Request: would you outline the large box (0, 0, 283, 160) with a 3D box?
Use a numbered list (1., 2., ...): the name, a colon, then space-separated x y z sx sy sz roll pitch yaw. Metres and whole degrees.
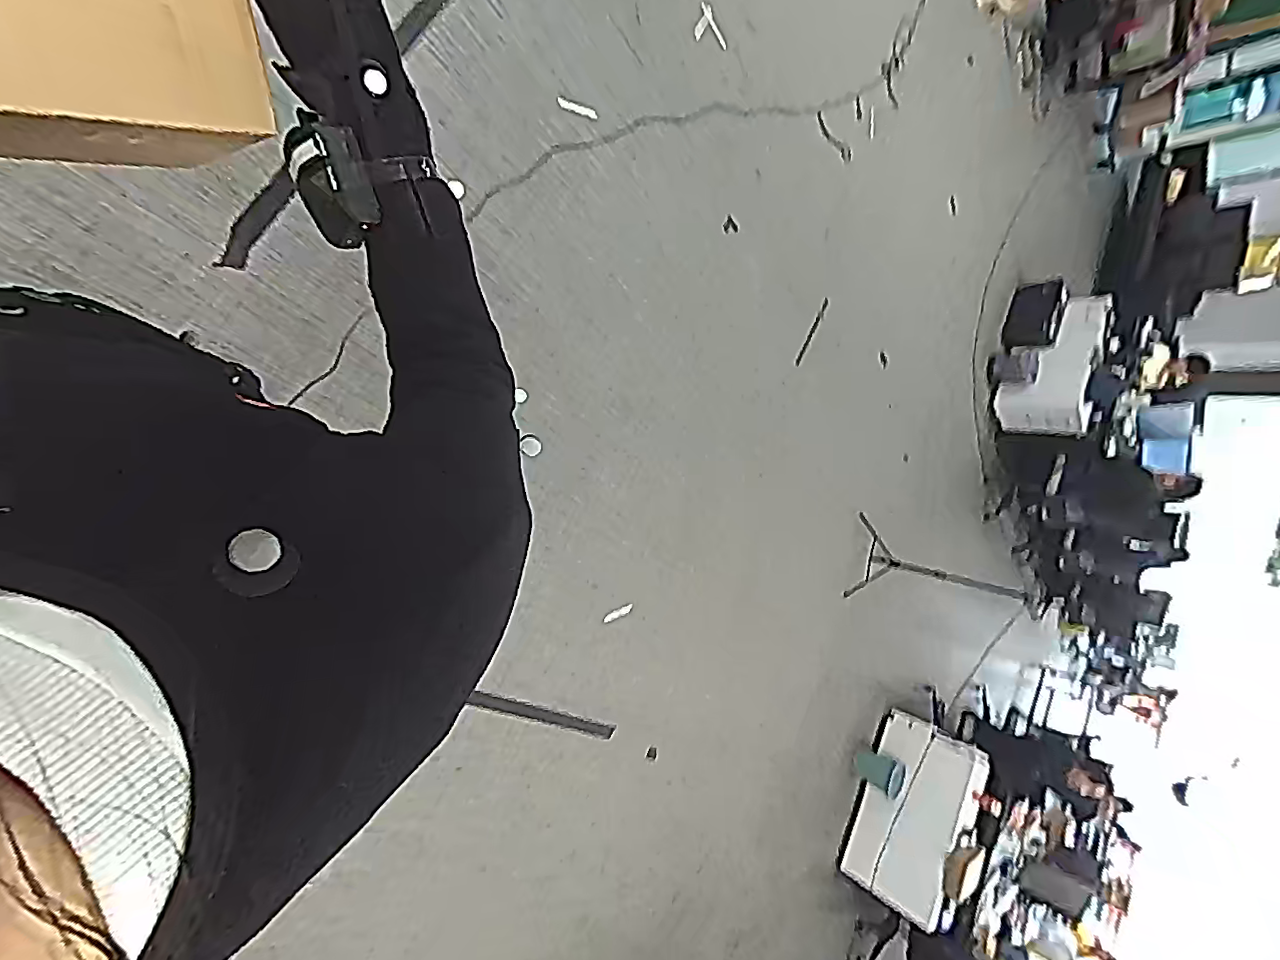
1. large box: -0.472 -0.347 0.250 0.408 0.320 0.320 -23 125 -40
